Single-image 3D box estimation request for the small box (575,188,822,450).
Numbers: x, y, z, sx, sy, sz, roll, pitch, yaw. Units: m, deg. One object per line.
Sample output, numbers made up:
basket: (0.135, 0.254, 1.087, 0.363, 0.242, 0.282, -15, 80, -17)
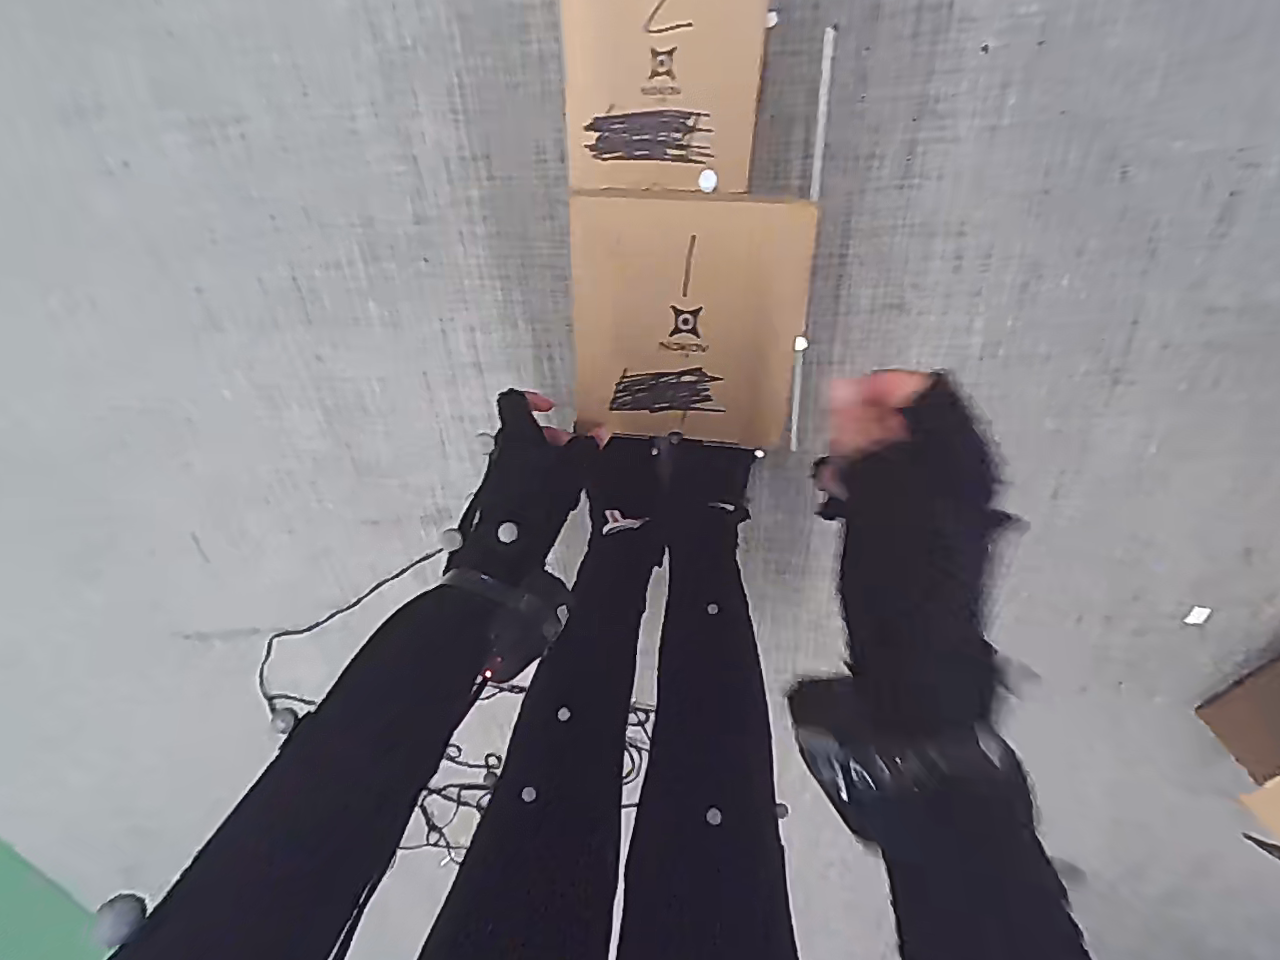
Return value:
small box: (0.045, -0.146, 0.462, 0.168, 0.176, 0.179, 5, 119, 5)
